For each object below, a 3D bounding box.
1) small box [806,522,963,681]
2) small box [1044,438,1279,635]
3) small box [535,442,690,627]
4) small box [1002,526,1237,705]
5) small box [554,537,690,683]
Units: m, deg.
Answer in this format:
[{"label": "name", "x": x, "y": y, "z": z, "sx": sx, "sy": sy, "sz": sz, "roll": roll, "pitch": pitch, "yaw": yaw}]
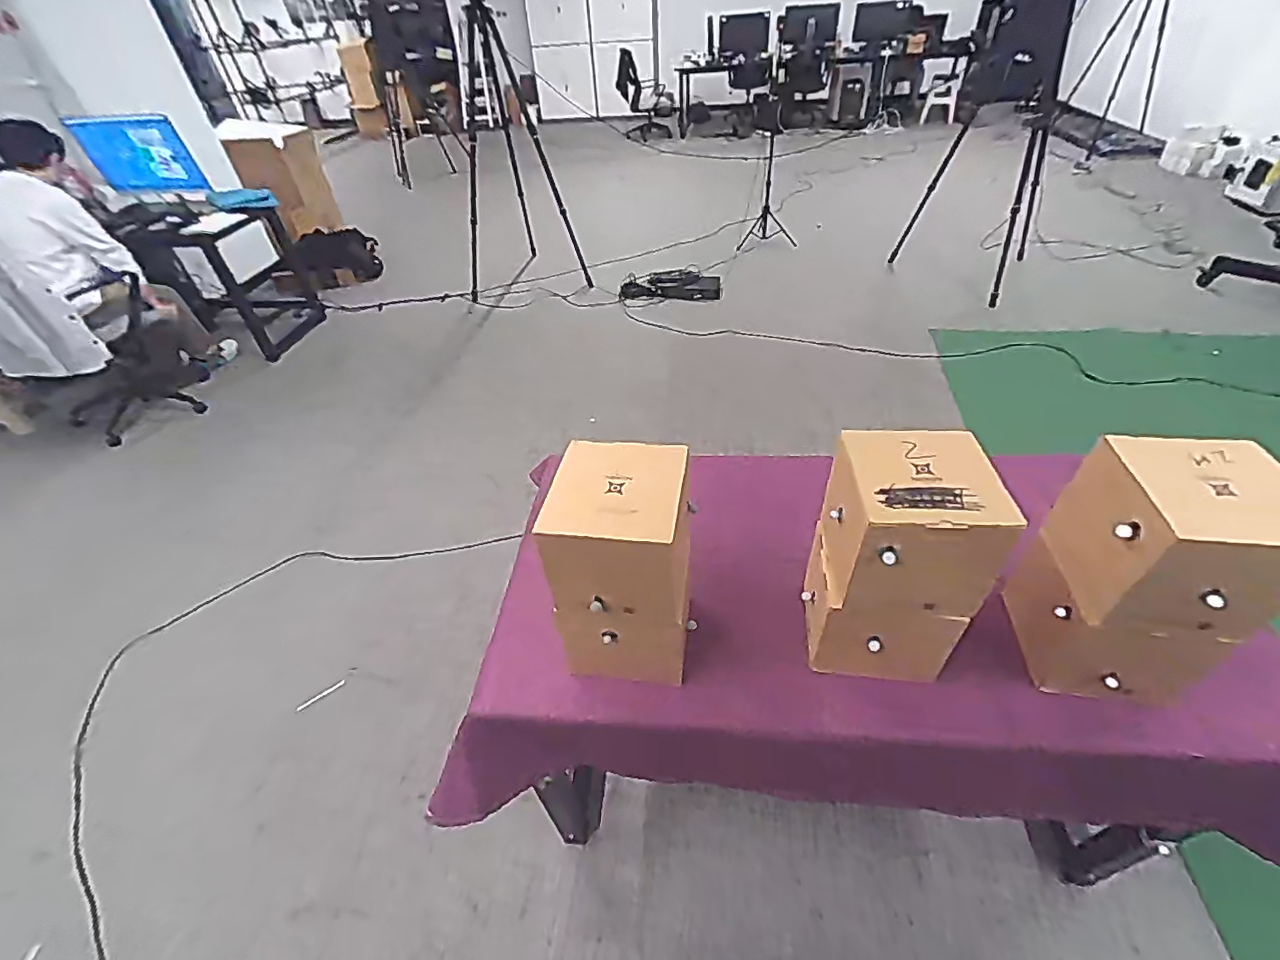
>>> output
[{"label": "small box", "x": 0.349, "y": 0.183, "z": 0.814, "sx": 0.179, "sy": 0.176, "sz": 0.168, "roll": 3, "pitch": 42, "yaw": 10}, {"label": "small box", "x": 0.648, "y": 0.069, "z": 0.665, "sx": 0.168, "sy": 0.176, "sz": 0.179, "roll": 4, "pitch": 43, "yaw": 9}, {"label": "small box", "x": -0.025, "y": 0.071, "z": 0.731, "sx": 0.168, "sy": 0.176, "sz": 0.179, "roll": 4, "pitch": 43, "yaw": 10}, {"label": "small box", "x": 0.657, "y": 0.192, "z": 0.776, "sx": 0.168, "sy": 0.176, "sz": 0.179, "roll": 4, "pitch": 43, "yaw": 10}, {"label": "small box", "x": -0.016, "y": 0.194, "z": 0.837, "sx": 0.179, "sy": 0.176, "sz": 0.168, "roll": 4, "pitch": 42, "yaw": 8}]
